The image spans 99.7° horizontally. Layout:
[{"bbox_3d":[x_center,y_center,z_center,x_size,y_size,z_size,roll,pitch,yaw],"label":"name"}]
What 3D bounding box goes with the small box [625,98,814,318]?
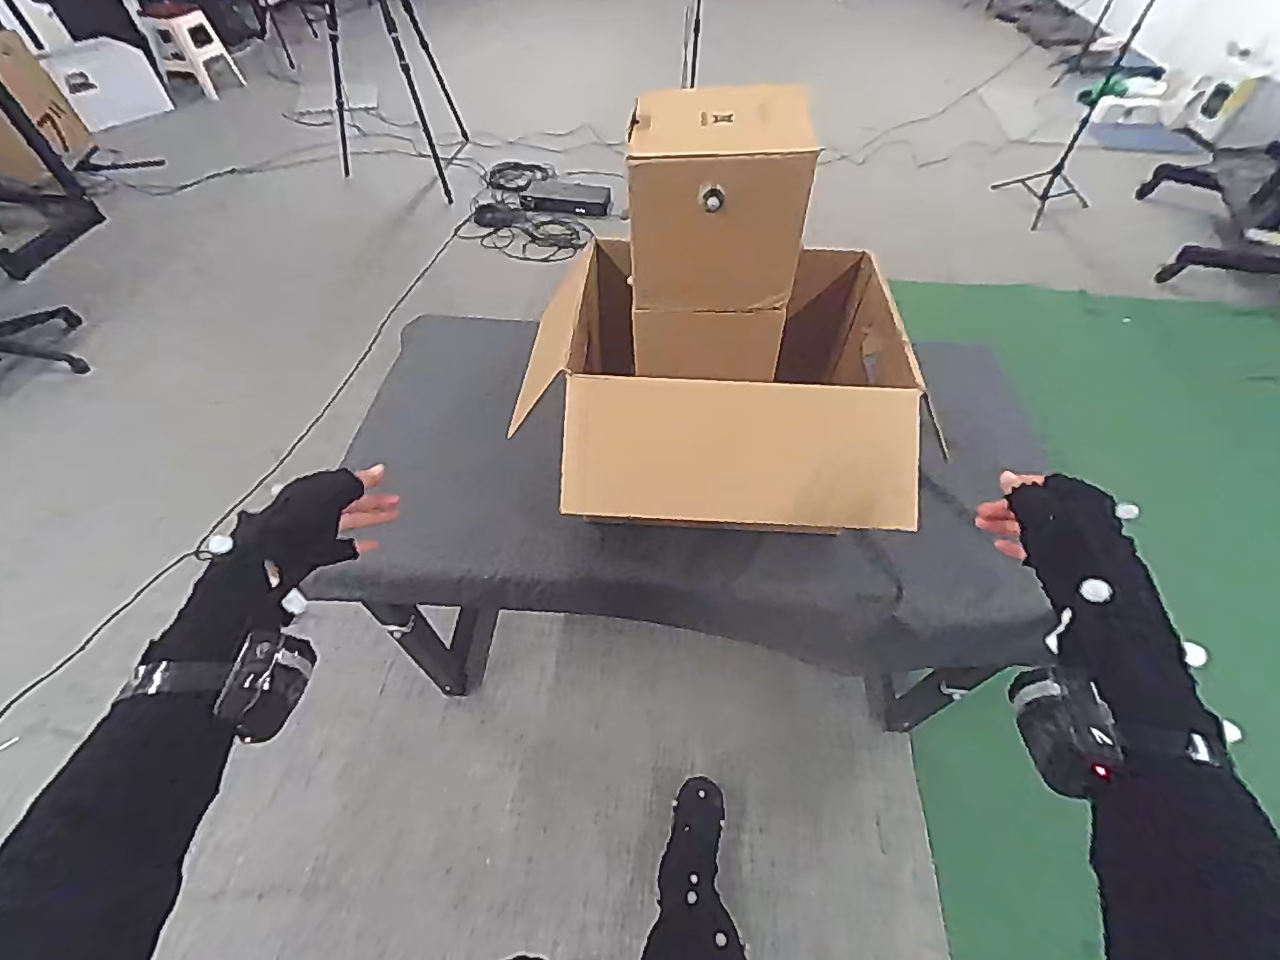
[{"bbox_3d":[0.079,-0.298,0.604,0.179,0.176,0.168,1,53,3],"label":"small box"}]
